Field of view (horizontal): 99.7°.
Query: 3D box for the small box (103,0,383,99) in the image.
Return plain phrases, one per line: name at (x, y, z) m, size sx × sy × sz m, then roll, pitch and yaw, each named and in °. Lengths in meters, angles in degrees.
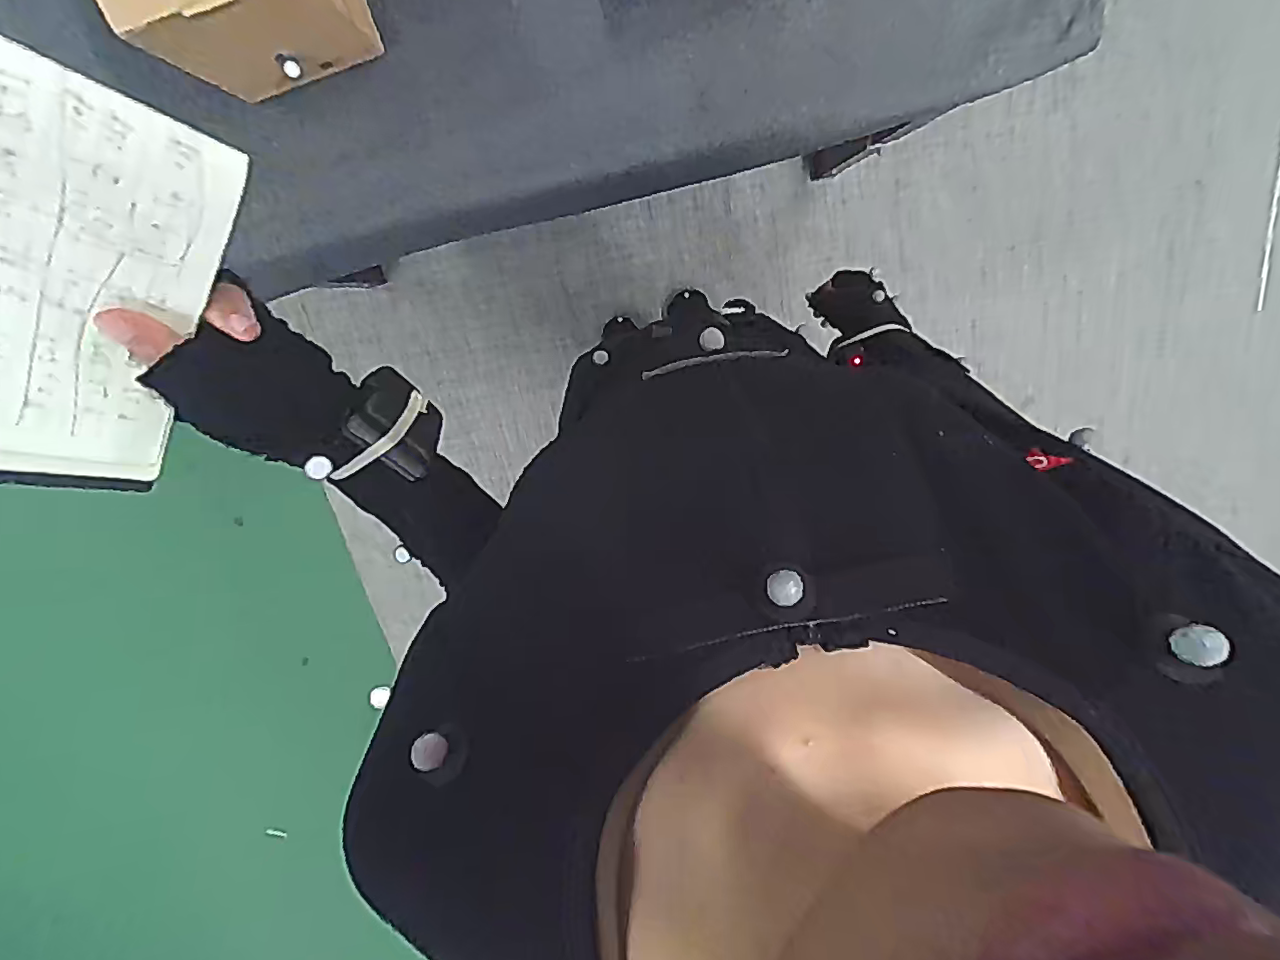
small box at (-0.371, -0.489, 0.485) m, size 0.168 × 0.176 × 0.179 m, roll -16°, pitch 108°, yaw 5°
